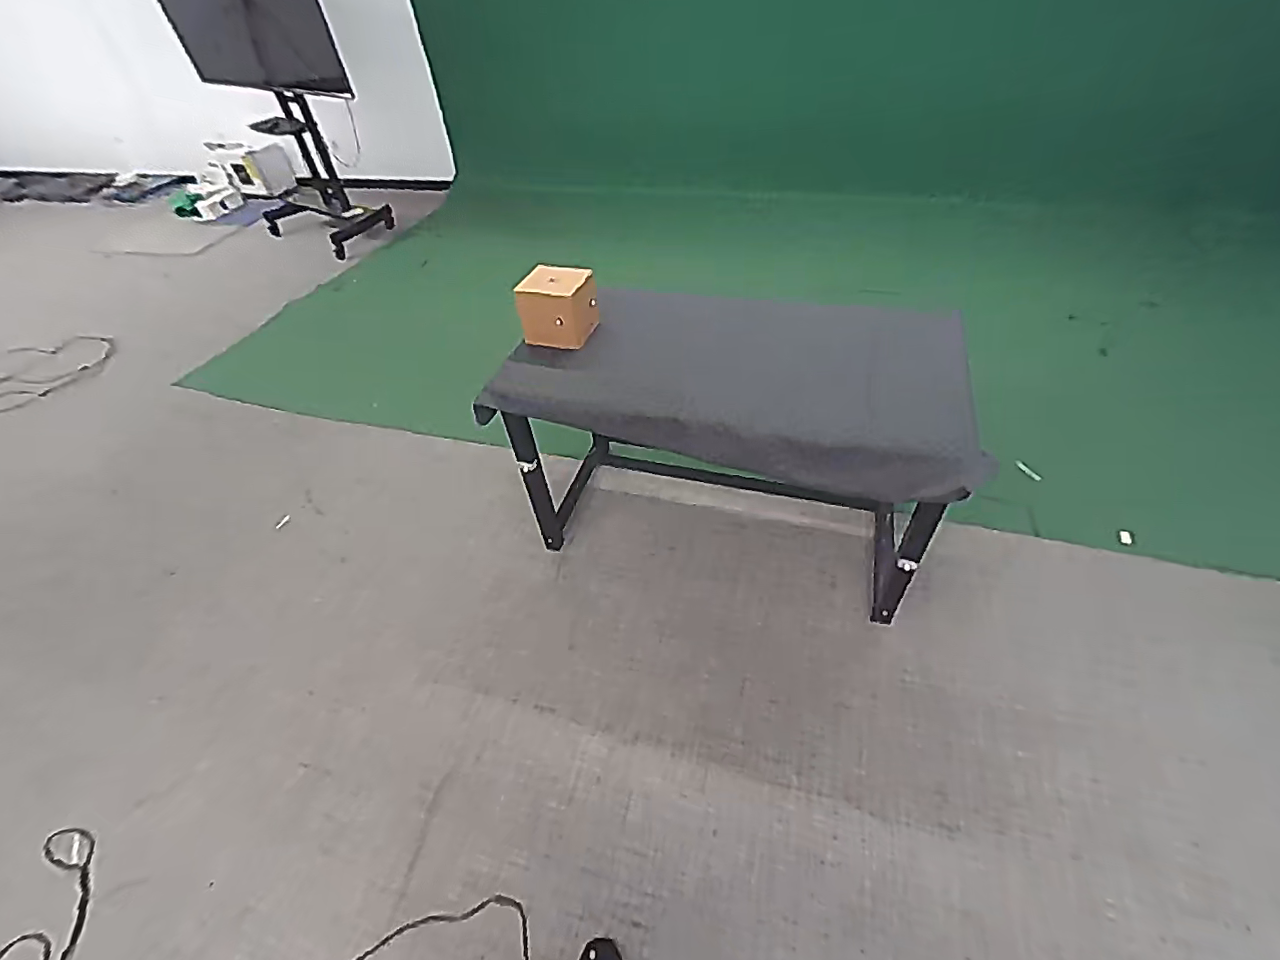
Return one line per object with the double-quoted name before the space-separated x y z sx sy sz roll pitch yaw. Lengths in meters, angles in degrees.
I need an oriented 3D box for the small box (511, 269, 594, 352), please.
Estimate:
"small box" -0.245 -0.489 1.568 0.179 0.176 0.168 12 46 16
